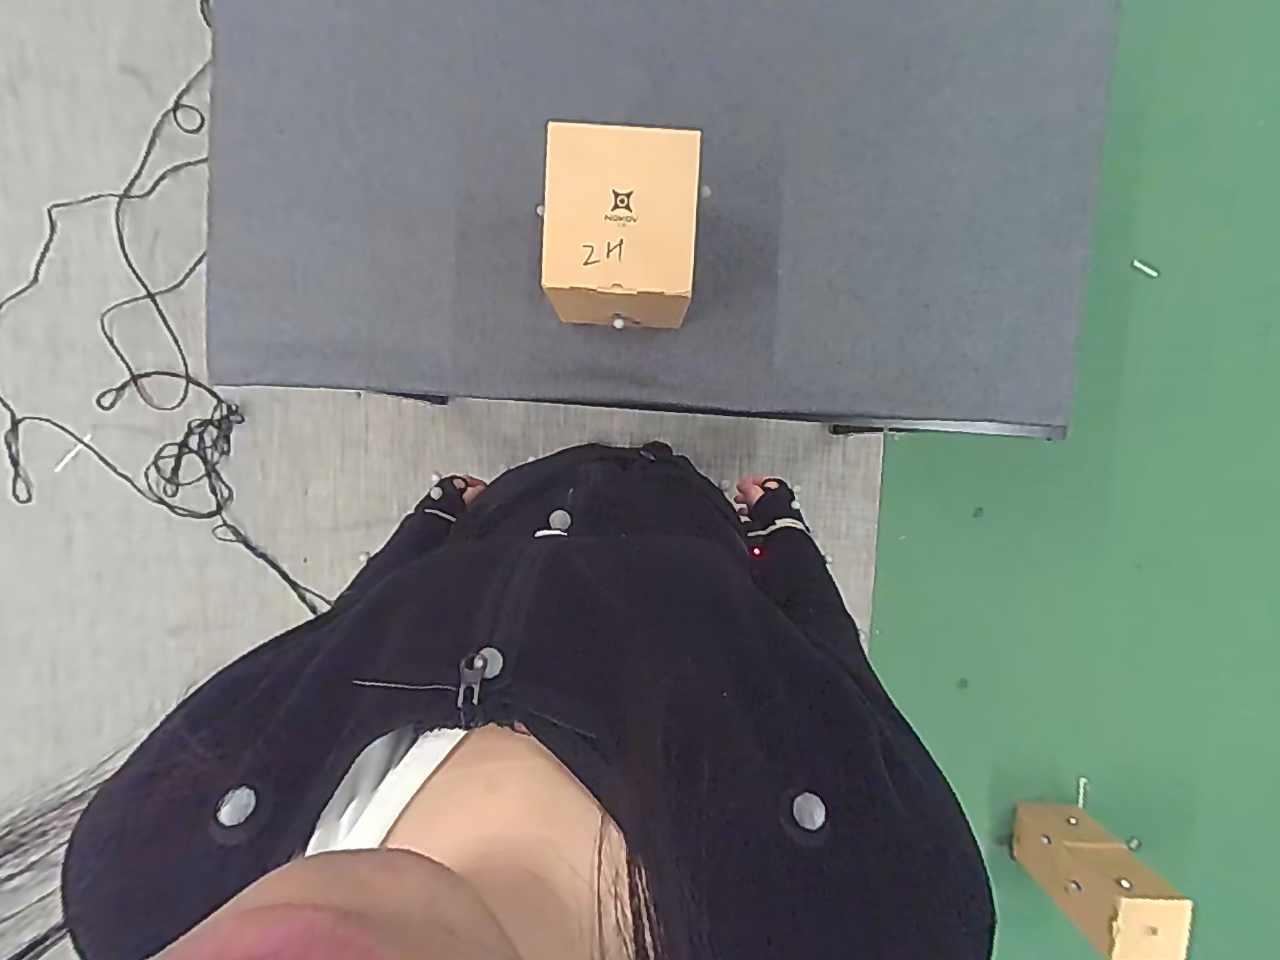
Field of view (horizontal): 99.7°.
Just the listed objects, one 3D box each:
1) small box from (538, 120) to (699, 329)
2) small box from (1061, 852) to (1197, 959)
[{"bbox_3d":[-0.025,-0.294,0.656,0.168,0.176,0.179,3,93,-1],"label":"small box"},{"bbox_3d":[1.189,1.049,1.324,0.179,0.176,0.168,2,94,-2],"label":"small box"}]
